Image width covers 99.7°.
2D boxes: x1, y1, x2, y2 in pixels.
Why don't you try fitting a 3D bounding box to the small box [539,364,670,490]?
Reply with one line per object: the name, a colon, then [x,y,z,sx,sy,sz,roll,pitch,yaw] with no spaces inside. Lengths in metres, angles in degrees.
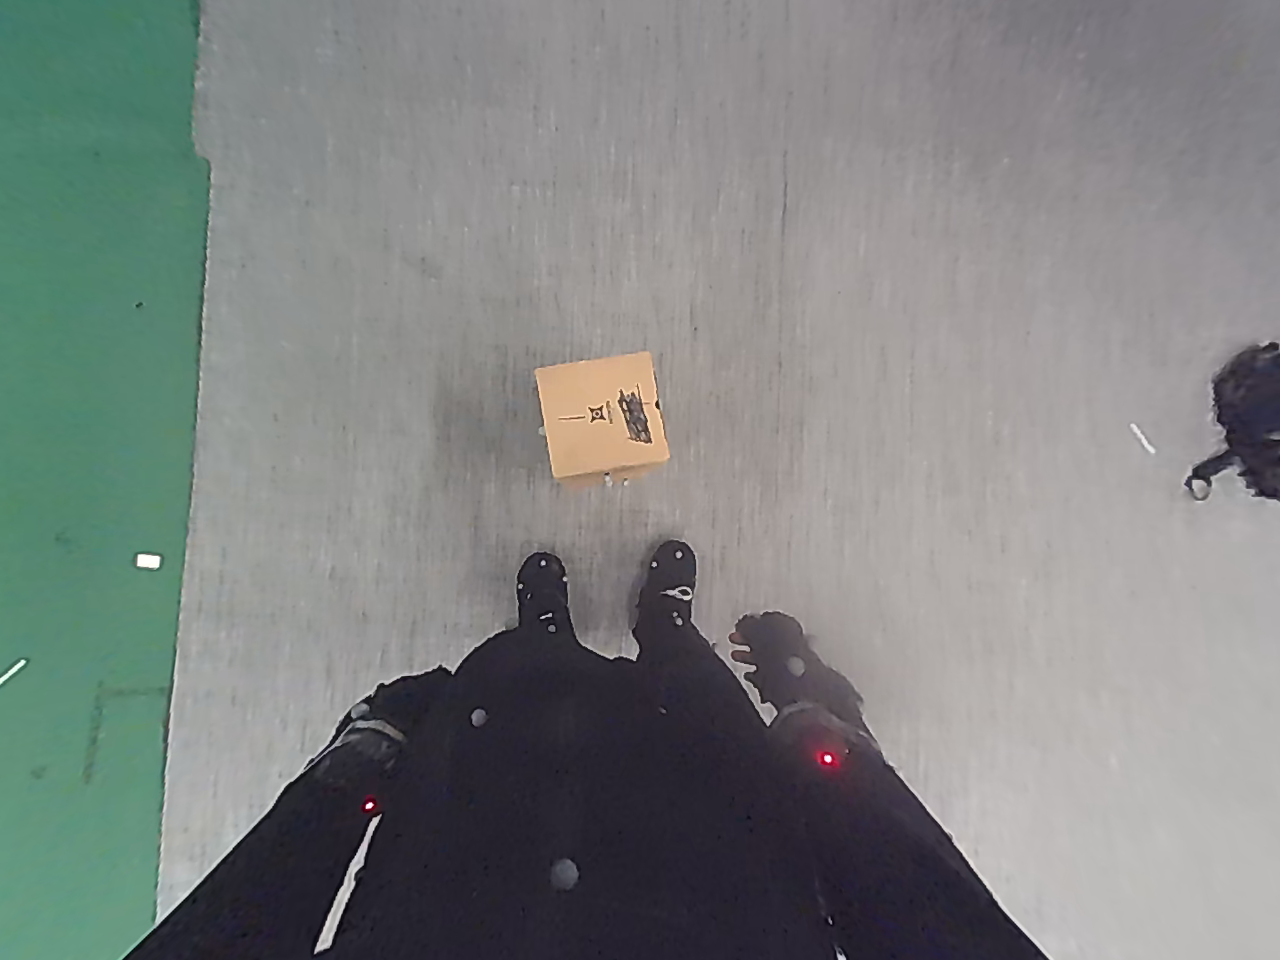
small box: [-0.058,-0.077,0.876,0.179,0.176,0.168,-9,87,-4]
